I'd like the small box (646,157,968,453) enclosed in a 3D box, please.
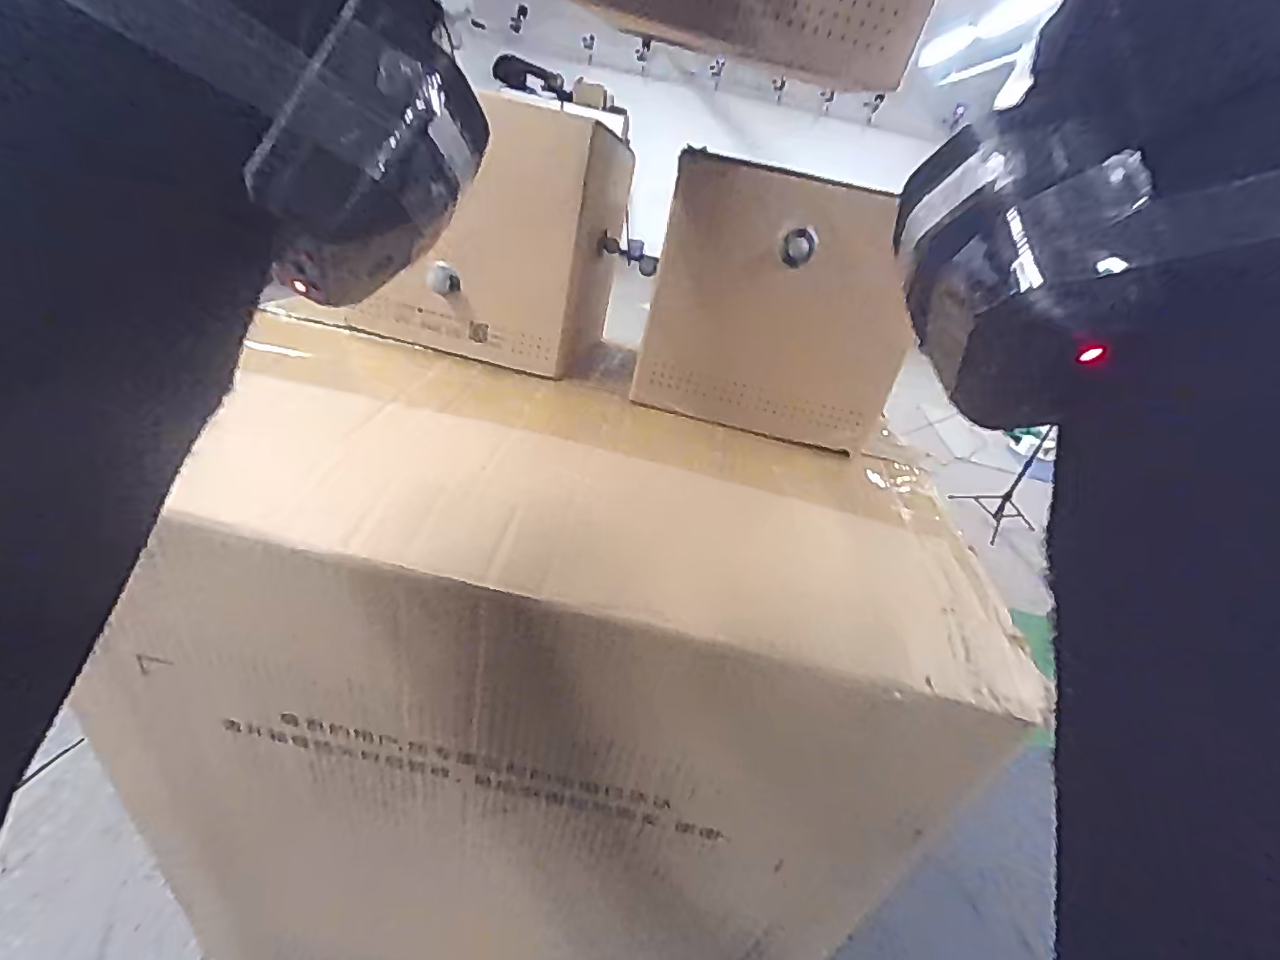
[{"bbox_3d":[0.110,-0.138,0.435,0.179,0.176,0.168,15,27,1],"label":"small box"}]

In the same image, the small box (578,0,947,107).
[{"bbox_3d":[0.081,-0.314,0.281,0.179,0.176,0.168,16,34,-2],"label":"small box"}]
